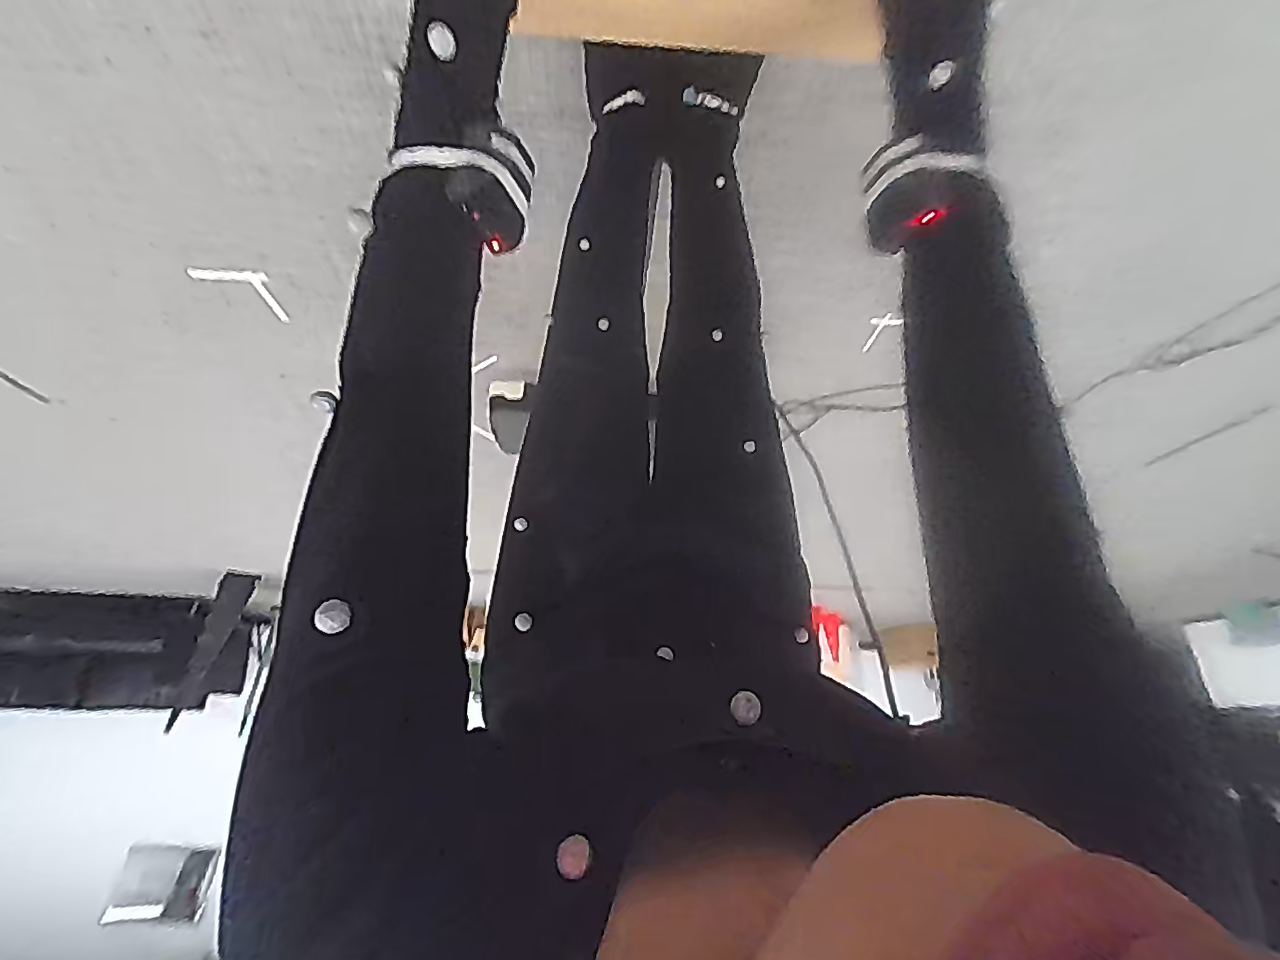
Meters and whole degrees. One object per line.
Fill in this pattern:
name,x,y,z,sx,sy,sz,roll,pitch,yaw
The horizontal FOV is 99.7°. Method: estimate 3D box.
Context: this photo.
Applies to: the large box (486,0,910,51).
large box,0.057,-0.631,0.463,0.408,0.320,0.320,2,154,-2
